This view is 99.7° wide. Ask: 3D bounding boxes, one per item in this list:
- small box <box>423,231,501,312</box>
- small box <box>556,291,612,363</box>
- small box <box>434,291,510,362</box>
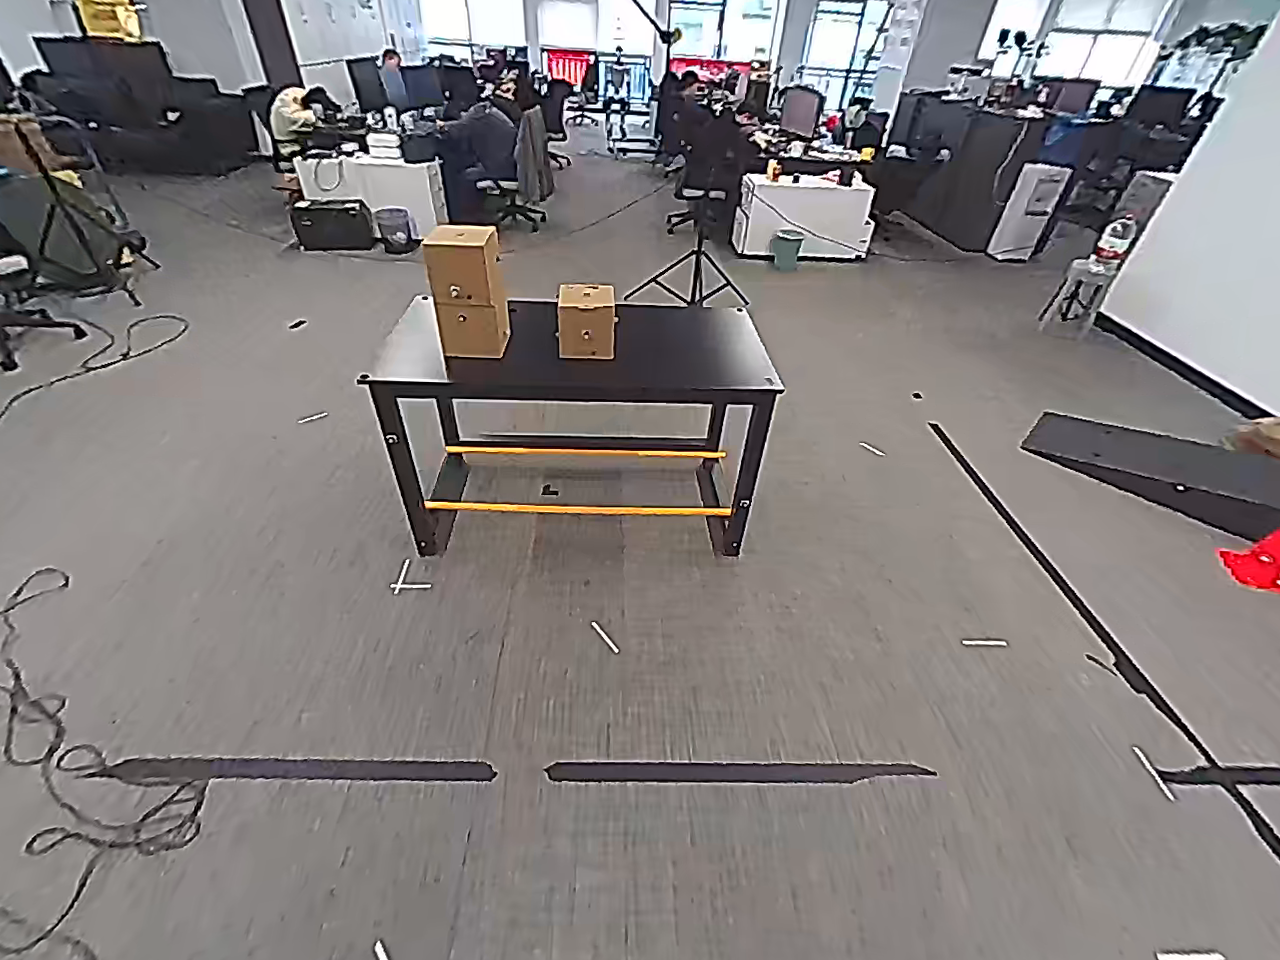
[{"bbox_3d":[-0.498,-0.595,1.542,0.168,0.176,0.179,0,40,-3],"label":"small box"},{"bbox_3d":[-0.169,-0.476,1.682,0.168,0.176,0.179,0,40,-5],"label":"small box"},{"bbox_3d":[-0.504,-0.471,1.646,0.179,0.176,0.168,2,39,-3],"label":"small box"}]
